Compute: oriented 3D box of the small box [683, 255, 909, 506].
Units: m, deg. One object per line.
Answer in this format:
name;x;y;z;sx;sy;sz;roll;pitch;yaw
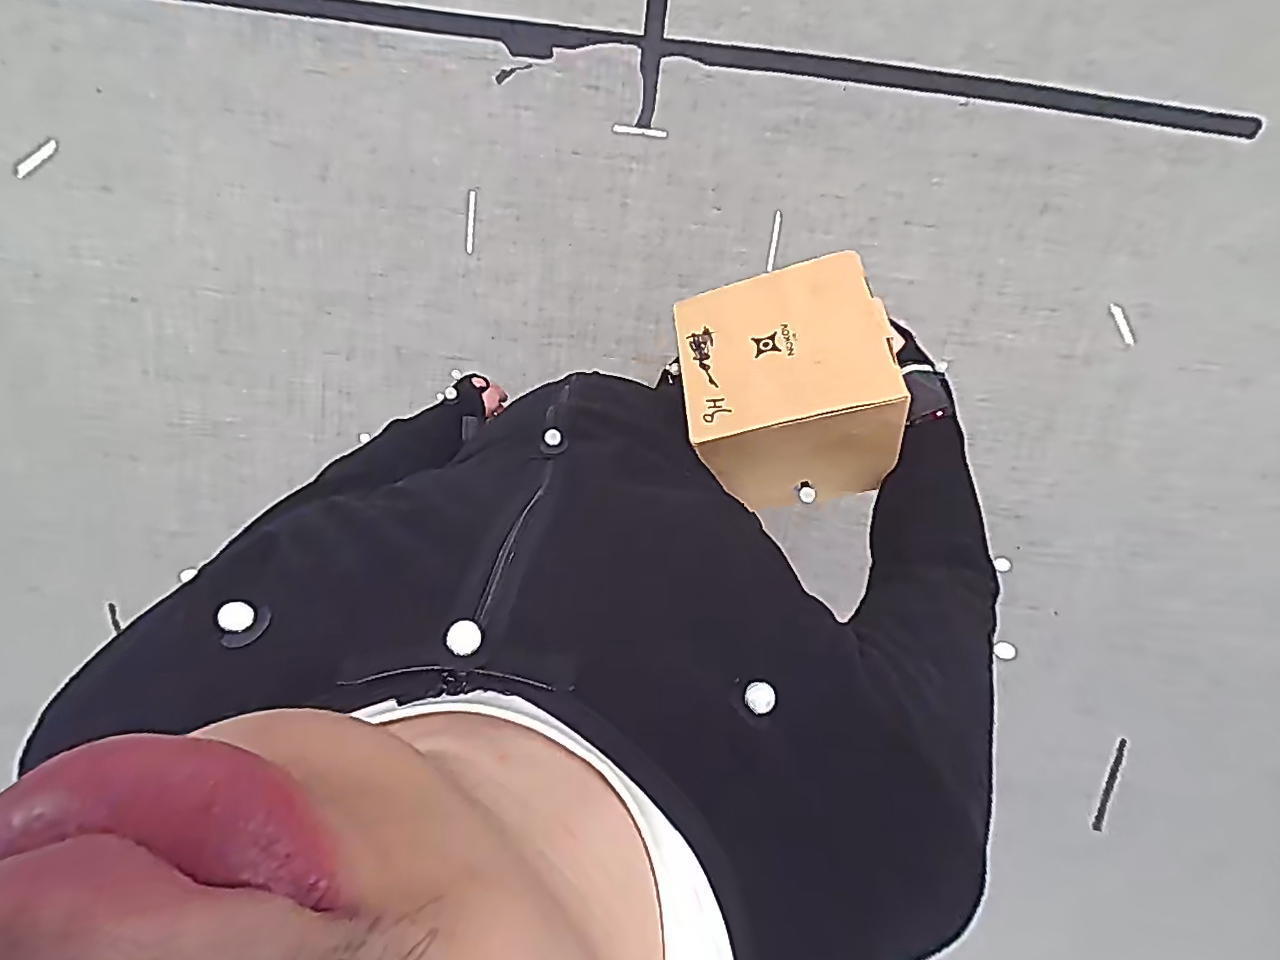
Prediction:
small box;0.153;-0.089;0.555;0.179;0.176;0.168;-11;61;15
